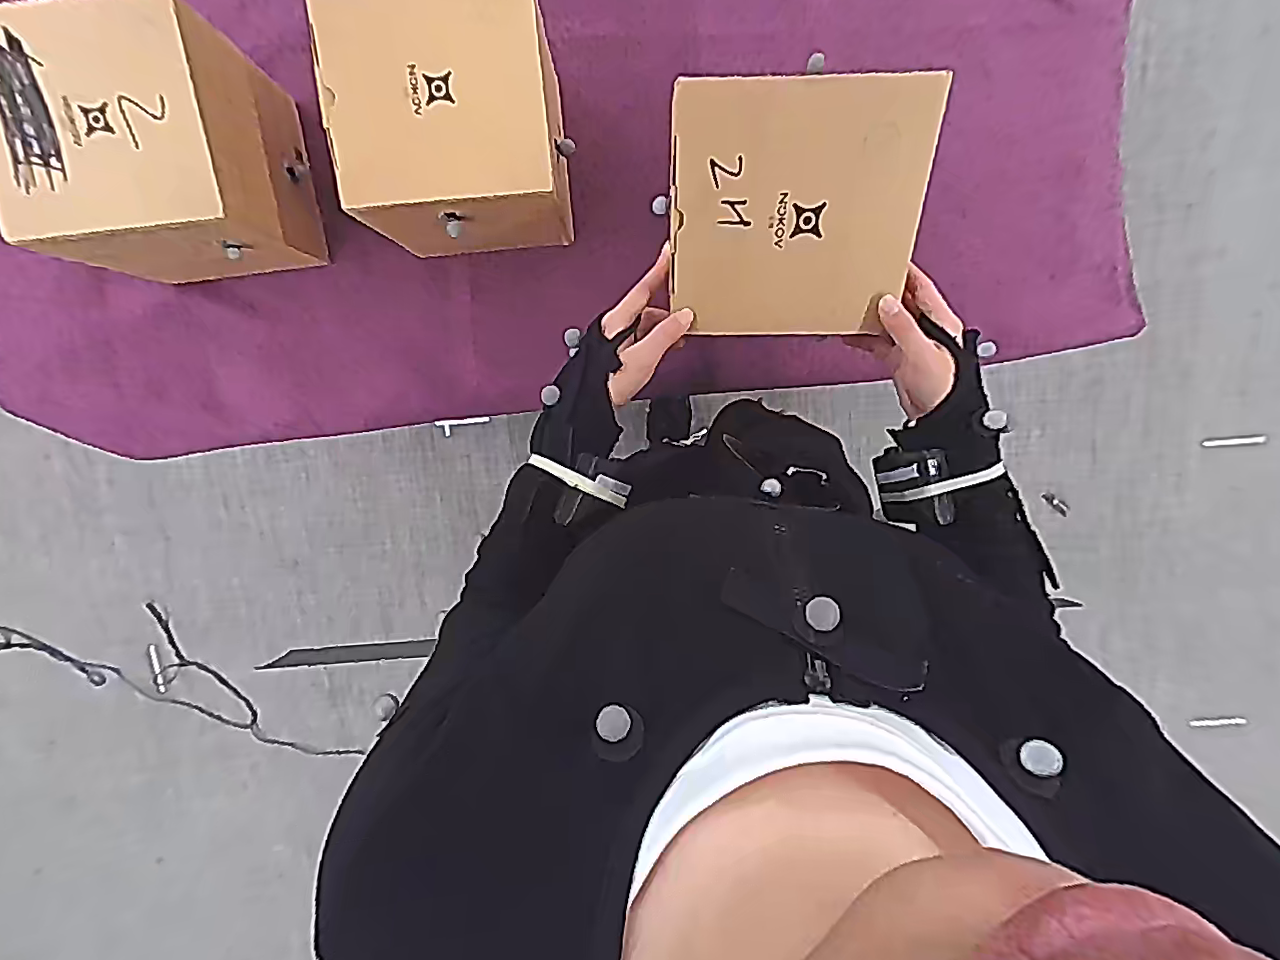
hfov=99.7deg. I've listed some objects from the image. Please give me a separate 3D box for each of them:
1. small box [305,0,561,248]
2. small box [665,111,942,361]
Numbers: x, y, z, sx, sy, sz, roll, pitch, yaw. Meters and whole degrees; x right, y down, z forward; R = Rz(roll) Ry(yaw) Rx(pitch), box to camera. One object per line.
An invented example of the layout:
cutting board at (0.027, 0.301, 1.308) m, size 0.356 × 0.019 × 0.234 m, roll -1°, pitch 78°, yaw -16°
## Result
small box at (-0.174, -0.333, 0.513) m, size 0.179 × 0.176 × 0.168 m, roll -4°, pitch 98°, yaw 1°
small box at (0.111, -0.206, 0.457) m, size 0.179 × 0.176 × 0.168 m, roll 2°, pitch 119°, yaw 3°
